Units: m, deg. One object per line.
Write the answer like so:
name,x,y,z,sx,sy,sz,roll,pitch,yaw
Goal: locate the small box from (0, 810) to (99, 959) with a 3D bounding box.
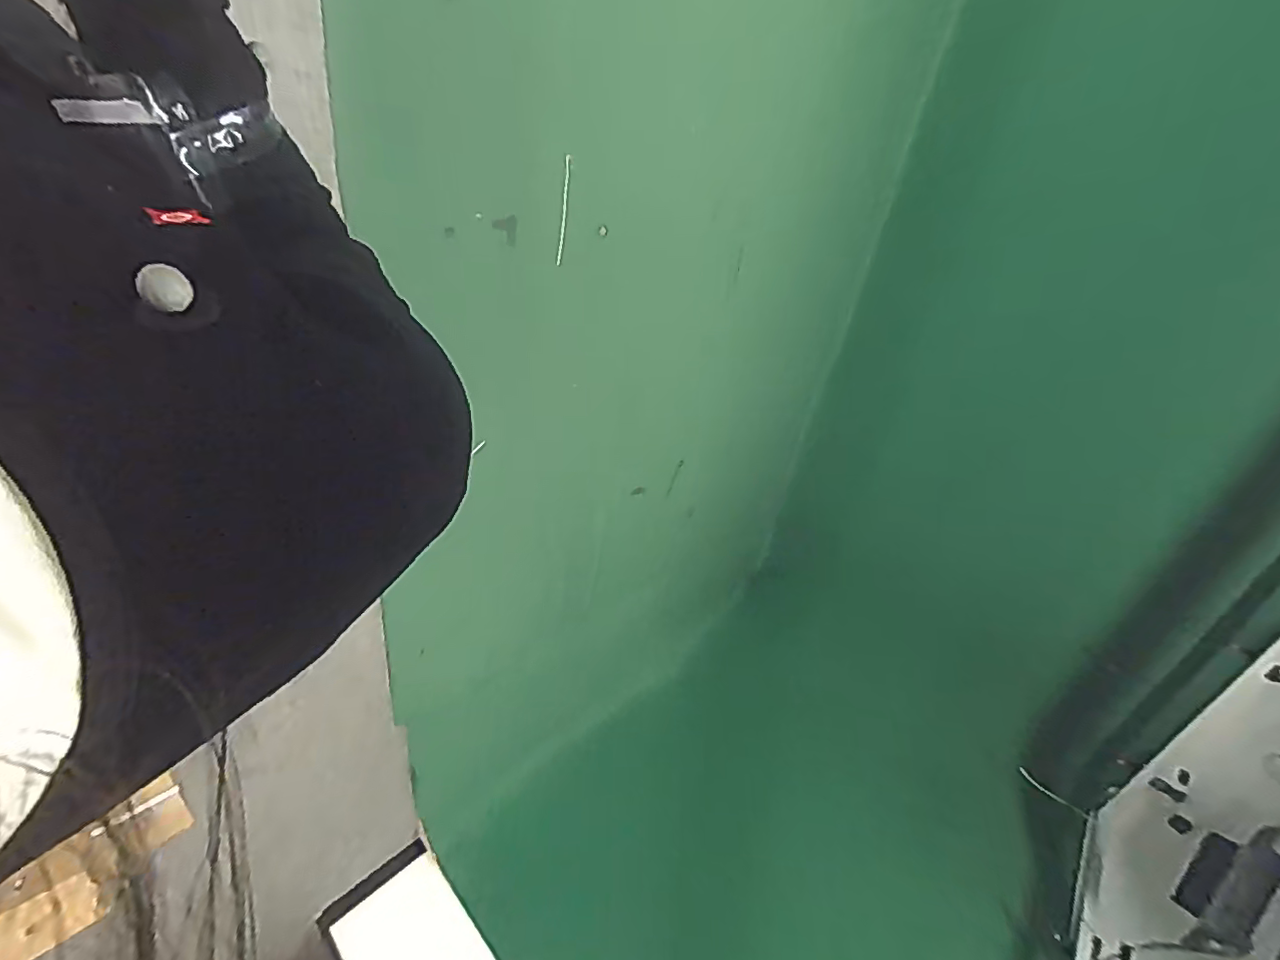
small box,-1.195,0.788,1.037,0.179,0.176,0.168,-20,130,-43
